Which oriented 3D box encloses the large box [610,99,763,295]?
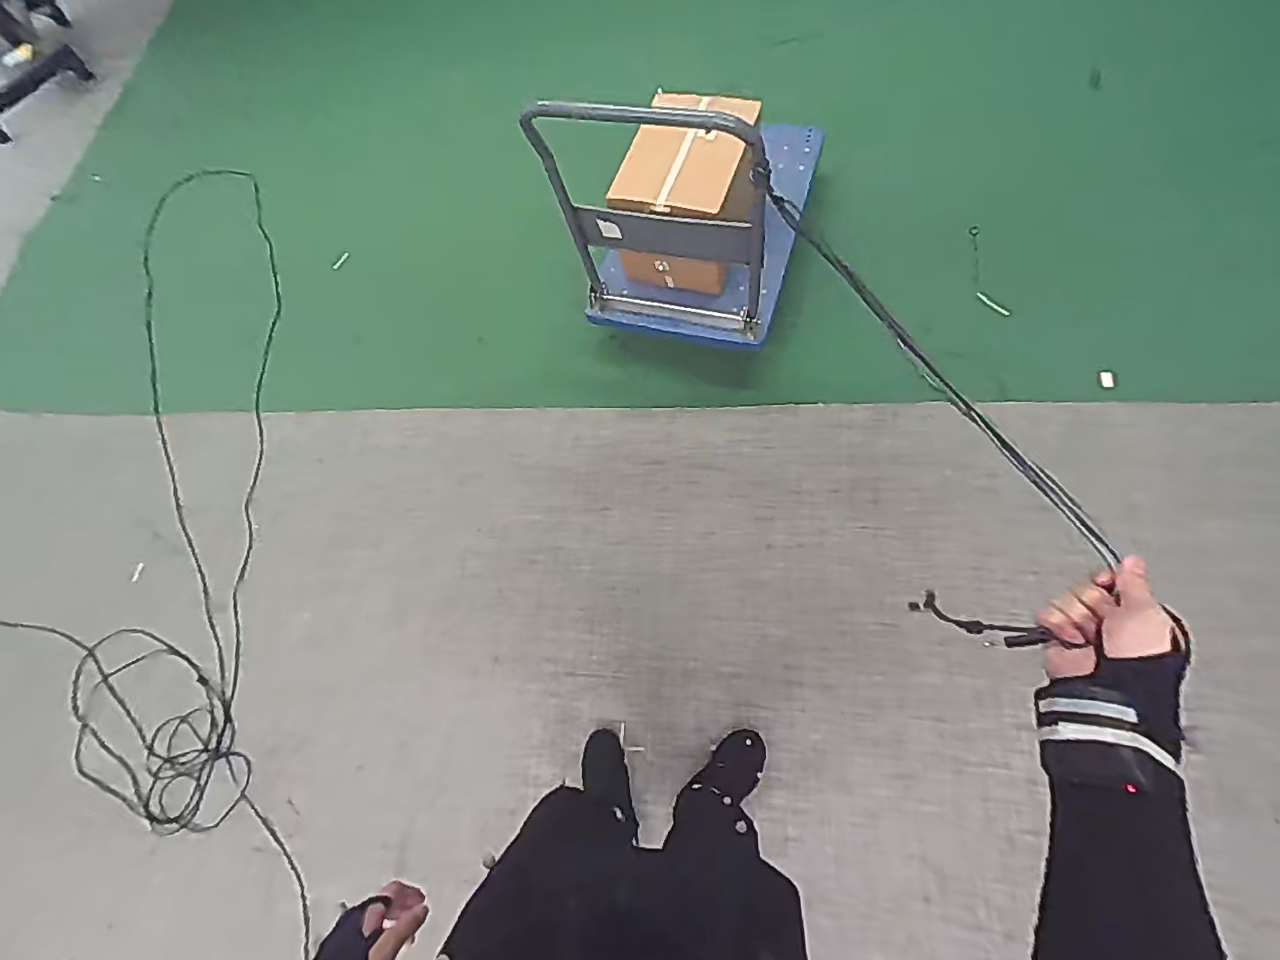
[{"bbox_3d":[0.151,-0.813,1.577,0.320,0.320,0.408,17,72,15],"label":"large box"}]
